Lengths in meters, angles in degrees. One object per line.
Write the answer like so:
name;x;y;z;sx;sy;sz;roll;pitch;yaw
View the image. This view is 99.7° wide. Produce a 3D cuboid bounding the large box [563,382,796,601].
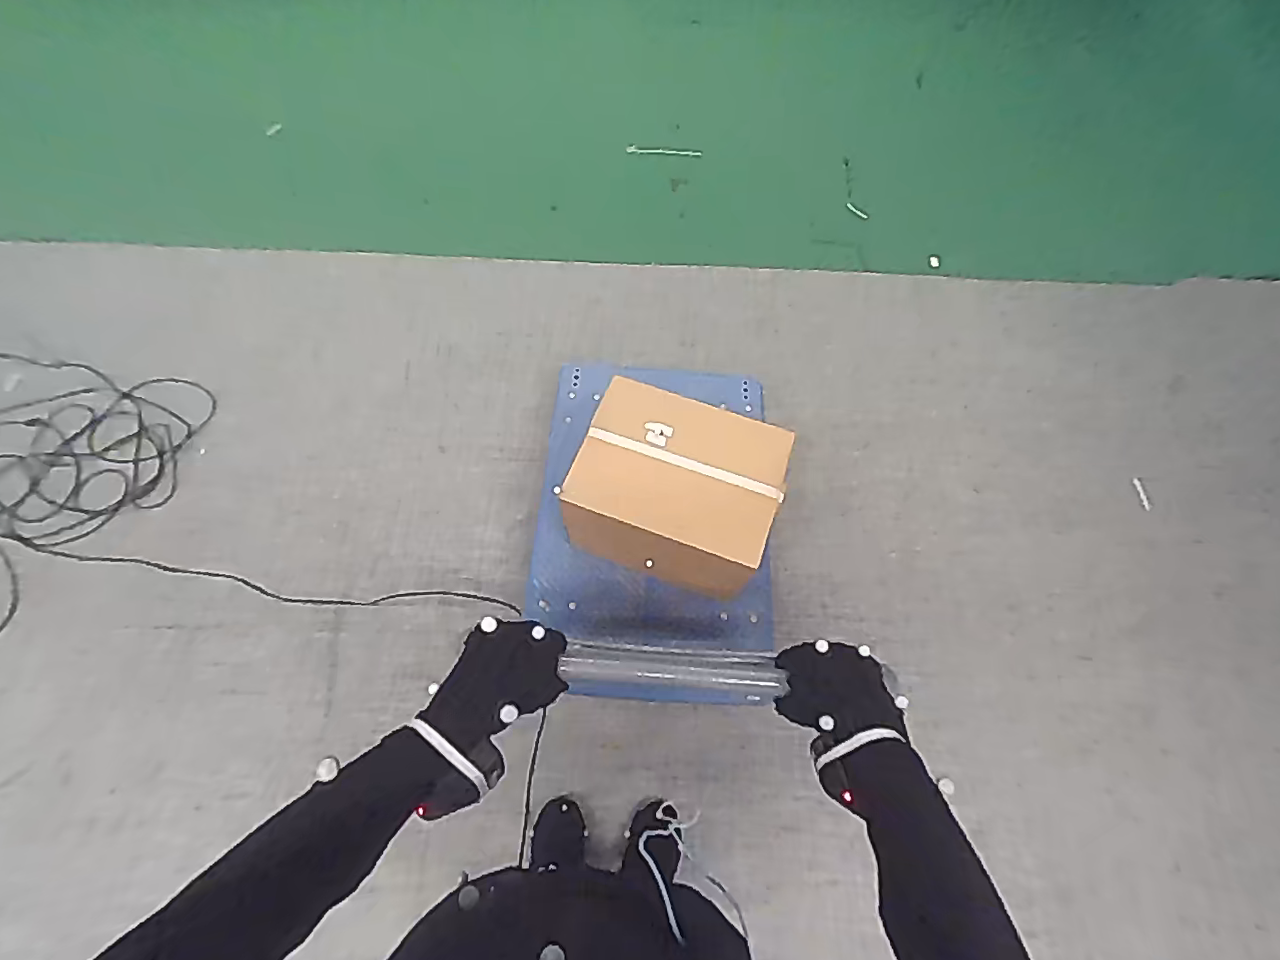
large box;0.086;0.038;1.211;0.408;0.320;0.320;19;66;8
